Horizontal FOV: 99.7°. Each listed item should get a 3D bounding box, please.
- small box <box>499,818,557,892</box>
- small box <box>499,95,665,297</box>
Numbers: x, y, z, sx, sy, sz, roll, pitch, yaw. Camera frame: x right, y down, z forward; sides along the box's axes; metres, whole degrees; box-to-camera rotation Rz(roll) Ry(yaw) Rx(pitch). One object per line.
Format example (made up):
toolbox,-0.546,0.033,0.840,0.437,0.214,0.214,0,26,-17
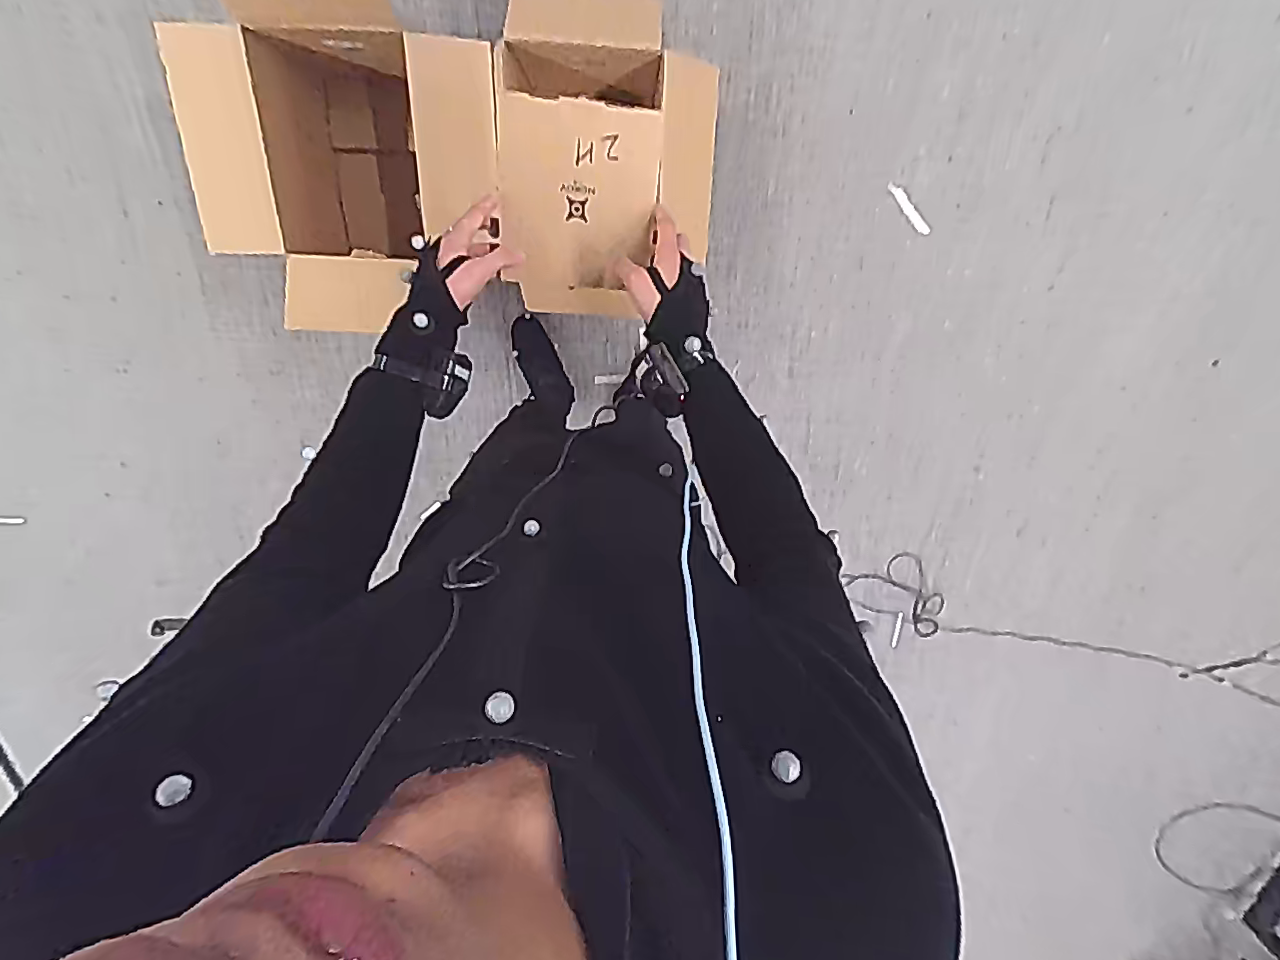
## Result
small box,-0.409,1.378,1.995,0.179,0.176,0.168,-1,112,0
small box,-0.070,-0.326,0.636,0.168,0.176,0.179,3,117,-7
